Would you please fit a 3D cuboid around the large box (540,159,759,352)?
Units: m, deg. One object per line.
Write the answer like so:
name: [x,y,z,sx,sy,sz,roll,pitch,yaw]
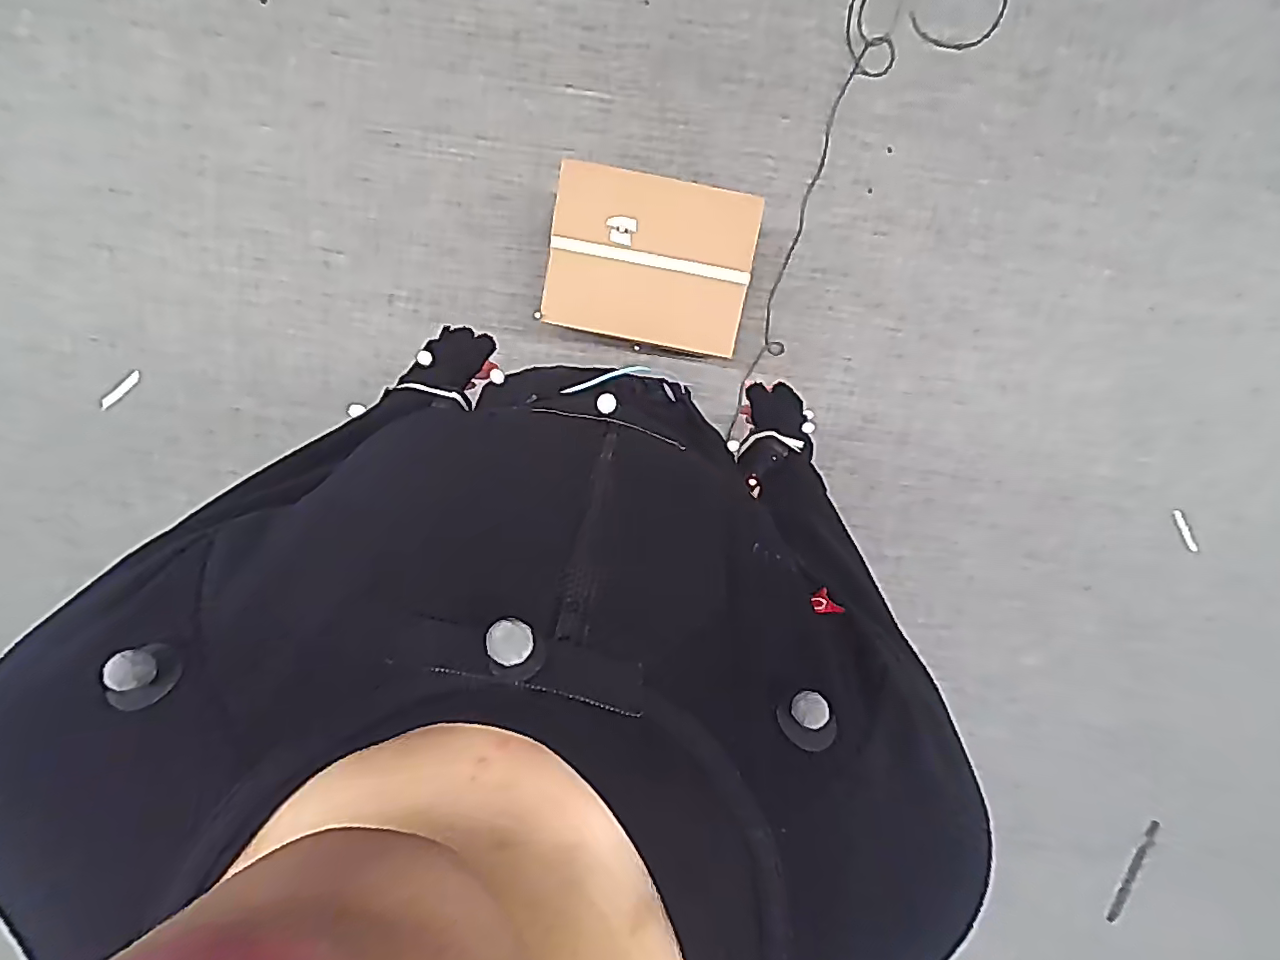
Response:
large box: [0.020,-0.479,1.231,0.408,0.320,0.320,11,102,-1]
